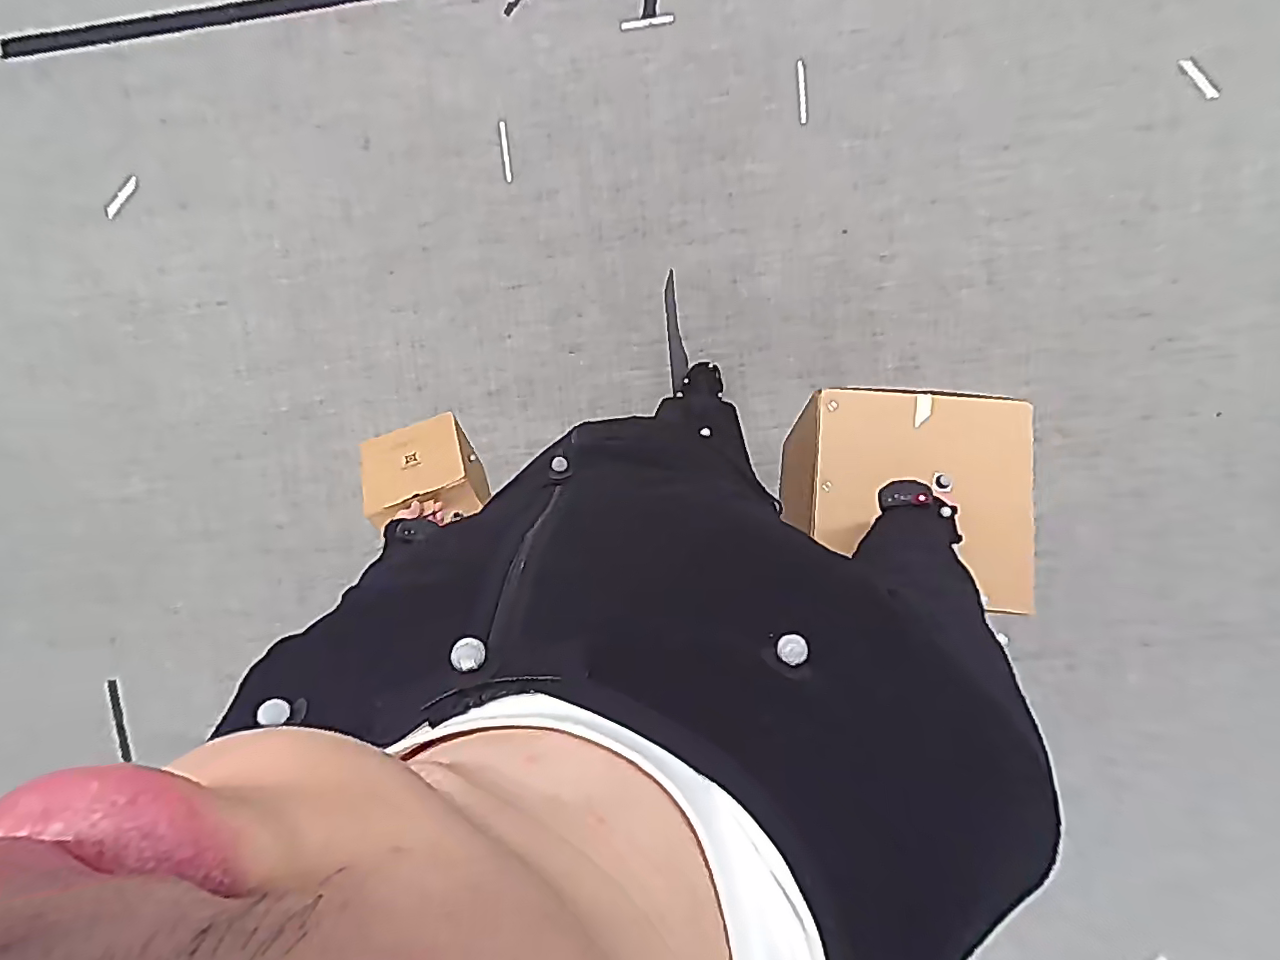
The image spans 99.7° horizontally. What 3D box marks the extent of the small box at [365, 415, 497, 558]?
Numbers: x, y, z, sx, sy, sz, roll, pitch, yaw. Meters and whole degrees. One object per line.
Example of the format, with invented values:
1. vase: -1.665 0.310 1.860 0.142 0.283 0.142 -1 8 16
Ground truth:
1. small box: -0.371 0.020 0.974 0.168 0.179 0.176 -21 140 -8
